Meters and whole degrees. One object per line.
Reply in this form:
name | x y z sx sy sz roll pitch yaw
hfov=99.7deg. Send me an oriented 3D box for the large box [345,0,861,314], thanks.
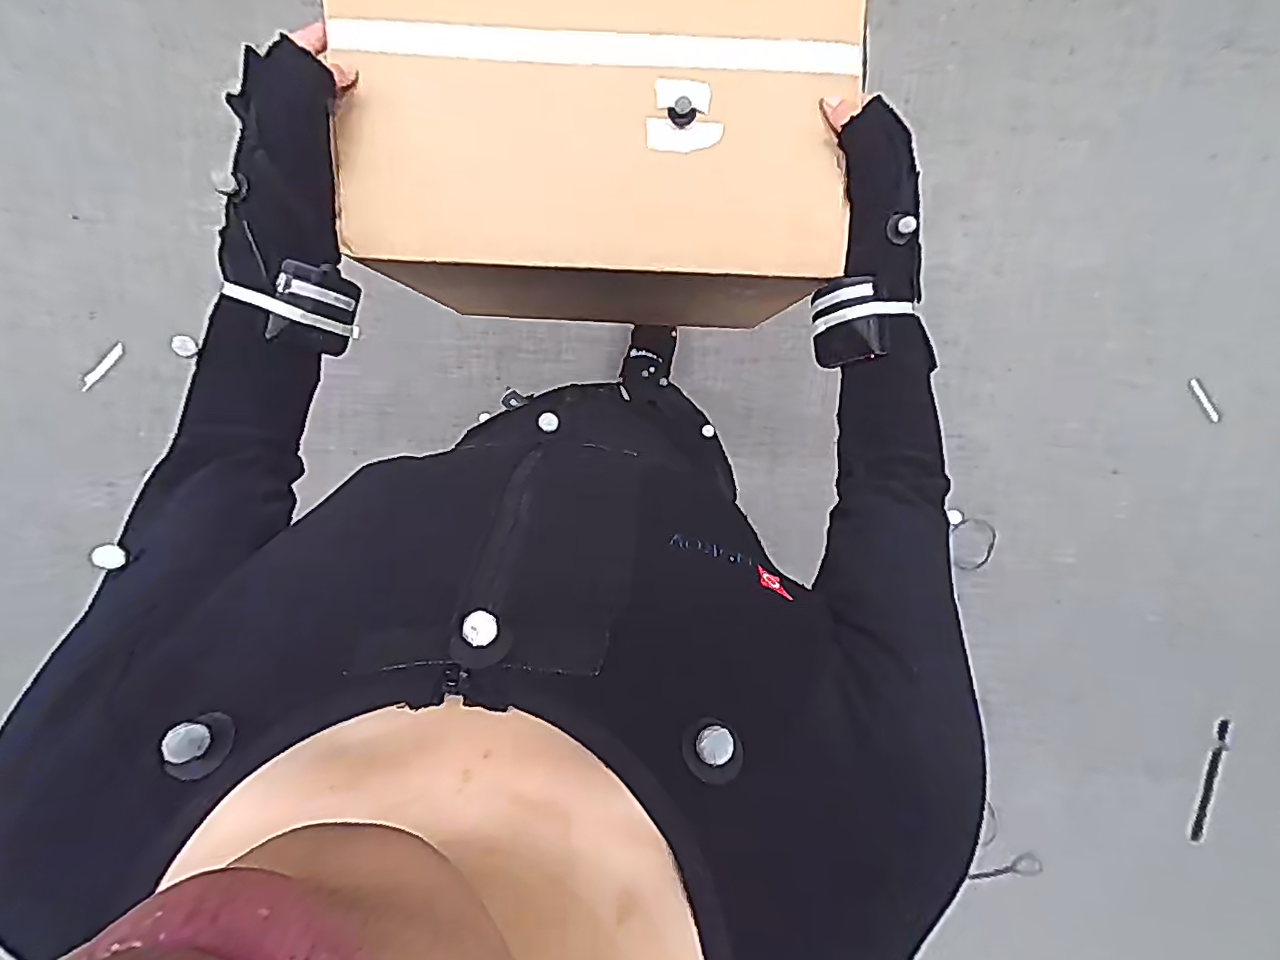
large box | -0.033 -0.360 0.566 0.408 0.320 0.320 2 99 -2
